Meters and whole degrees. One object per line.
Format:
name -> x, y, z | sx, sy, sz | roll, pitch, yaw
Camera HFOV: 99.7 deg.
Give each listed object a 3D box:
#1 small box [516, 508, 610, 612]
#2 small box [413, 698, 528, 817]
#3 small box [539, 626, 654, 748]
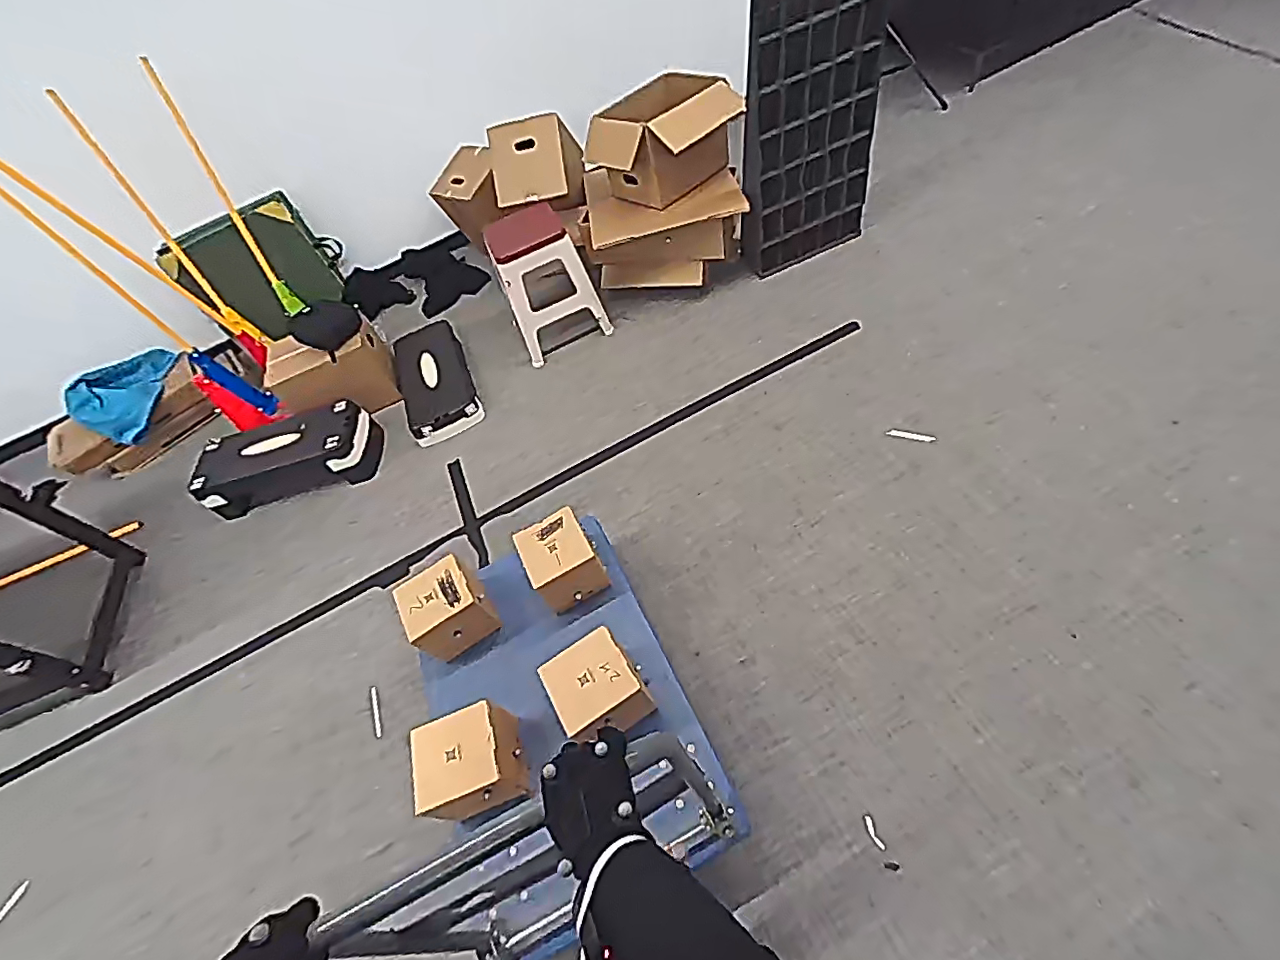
small box -> -0.197, 0.210, 1.406 | 0.168, 0.176, 0.179 | -28, 54, -6
small box -> -0.363, 0.603, 1.166 | 0.179, 0.176, 0.168 | -22, 52, -3
small box -> -0.092, 0.462, 1.195 | 0.179, 0.176, 0.168 | -31, 53, -8
